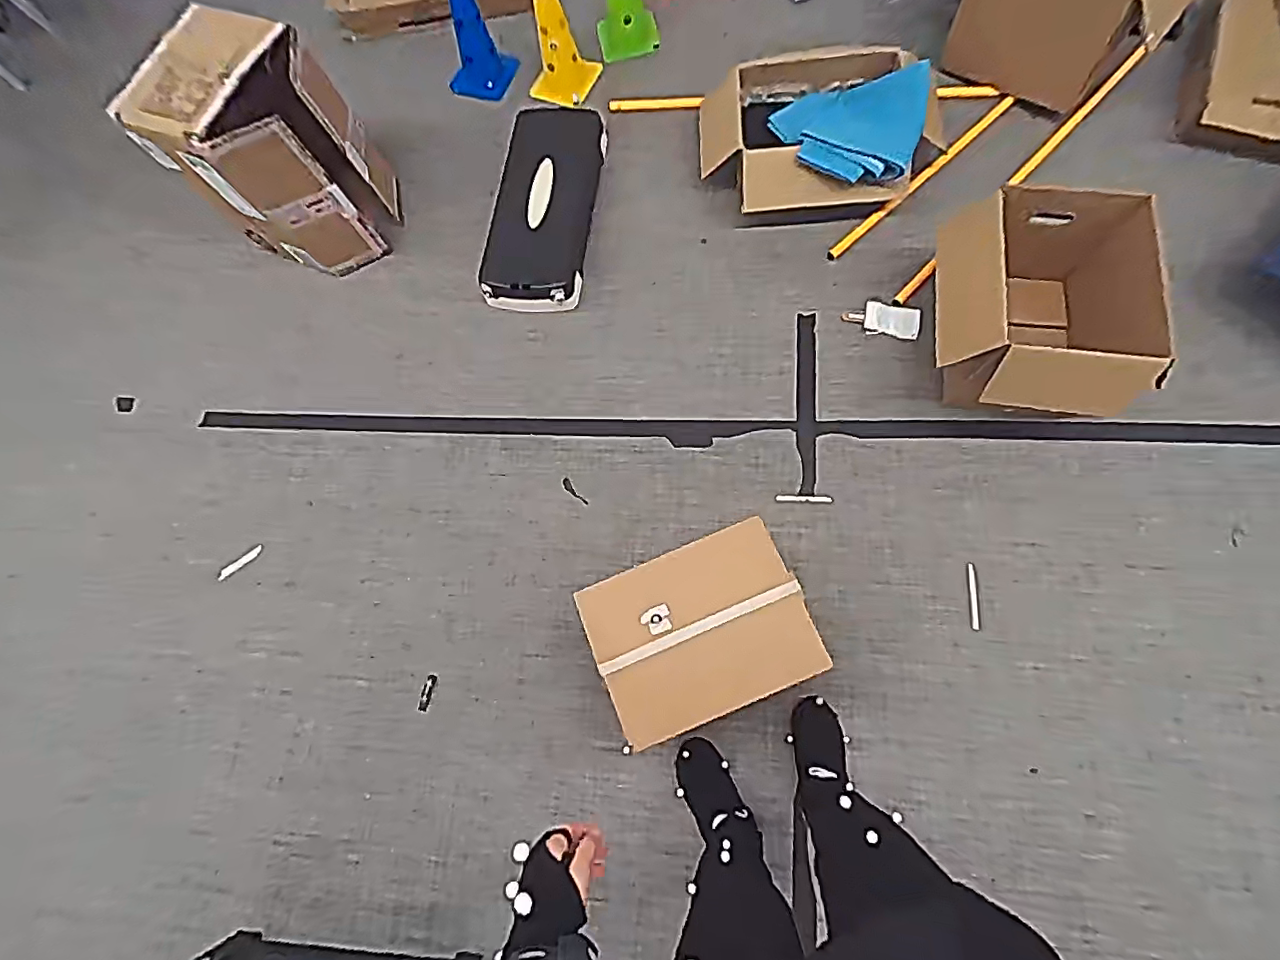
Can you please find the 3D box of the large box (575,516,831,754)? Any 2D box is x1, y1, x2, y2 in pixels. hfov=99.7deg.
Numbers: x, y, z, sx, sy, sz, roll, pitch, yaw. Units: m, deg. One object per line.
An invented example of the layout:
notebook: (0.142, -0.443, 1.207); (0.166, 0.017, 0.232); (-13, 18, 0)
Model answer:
large box: (0.128, 0.320, 1.159); (0.408, 0.320, 0.320); (-24, 72, 0)
